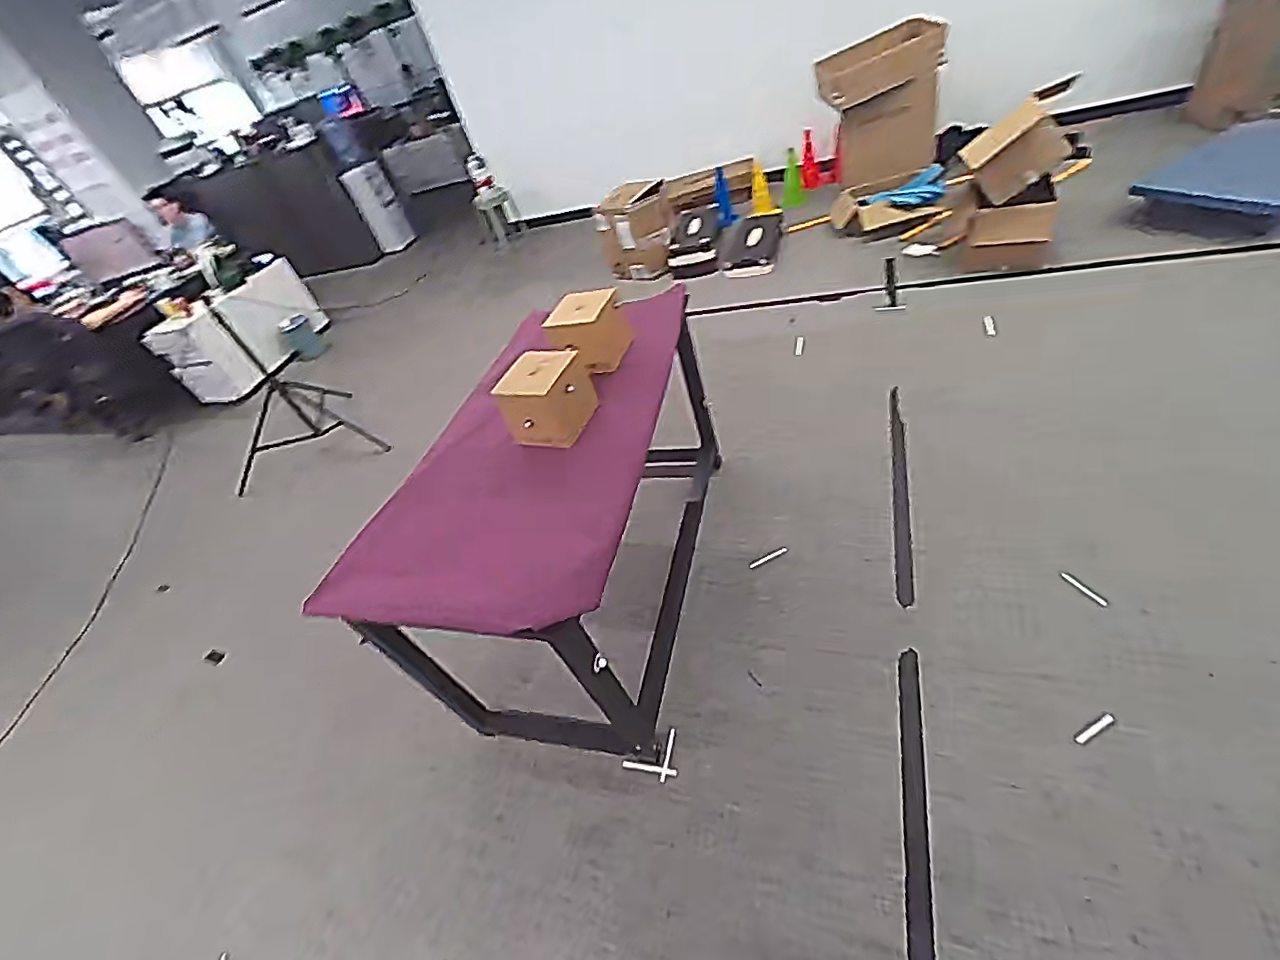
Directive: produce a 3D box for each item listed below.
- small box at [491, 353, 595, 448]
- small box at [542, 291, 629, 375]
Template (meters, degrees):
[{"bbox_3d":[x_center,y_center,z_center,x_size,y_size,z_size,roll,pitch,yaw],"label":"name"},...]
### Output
[{"bbox_3d":[-0.233,-0.198,1.358,0.168,0.176,0.179,6,48,26],"label":"small box"},{"bbox_3d":[-0.147,-0.412,1.548,0.168,0.176,0.179,1,46,24],"label":"small box"}]
